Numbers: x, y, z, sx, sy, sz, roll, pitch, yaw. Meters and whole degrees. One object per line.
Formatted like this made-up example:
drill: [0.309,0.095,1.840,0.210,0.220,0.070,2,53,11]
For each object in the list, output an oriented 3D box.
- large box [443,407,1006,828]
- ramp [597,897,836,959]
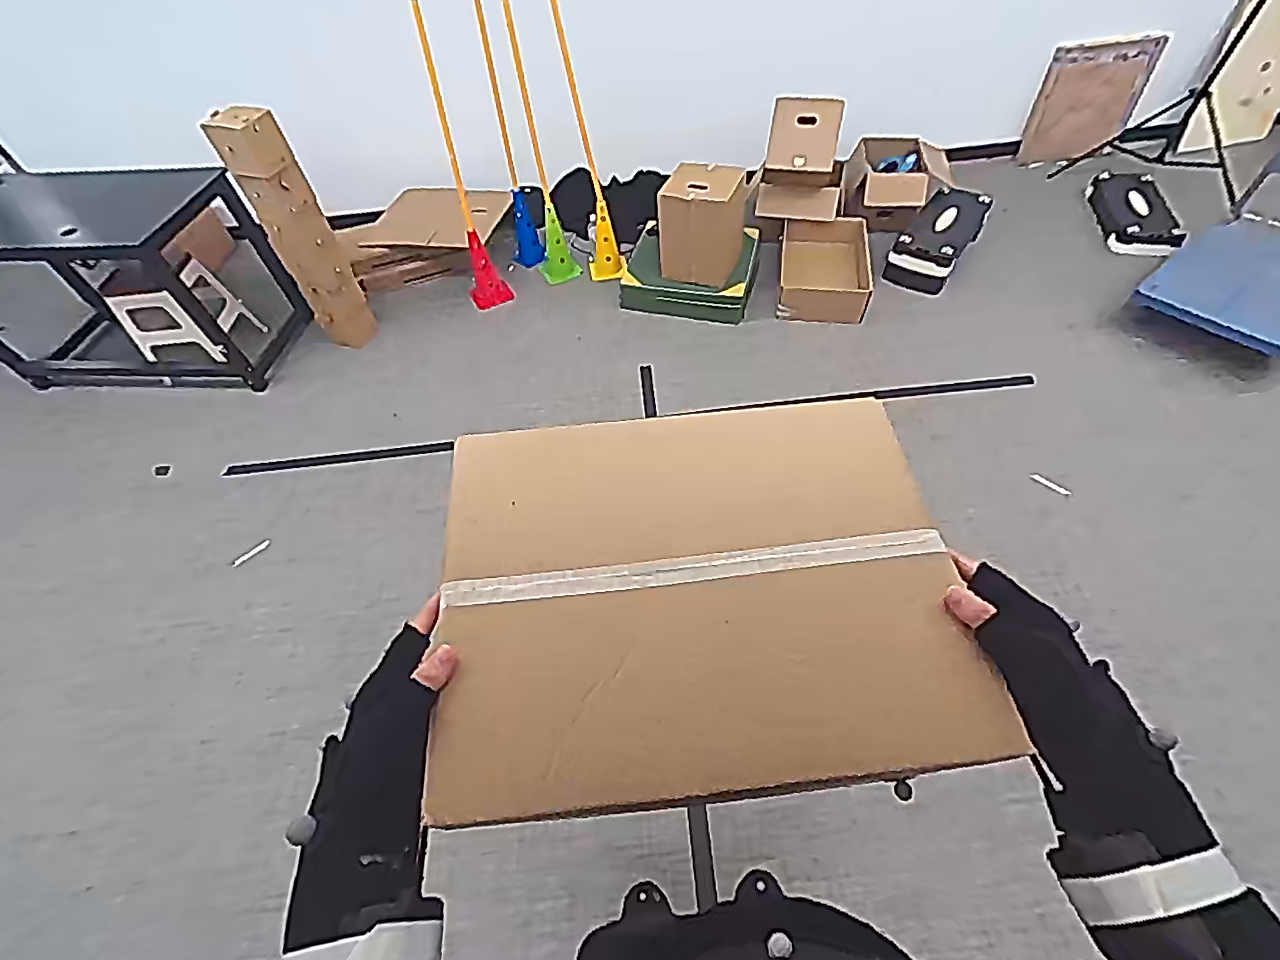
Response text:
large box: [0.051,0.156,0.574,0.408,0.320,0.320,-6,58,-2]
ramp: [0.201,1.358,0.931,0.509,0.206,0.991,-7,54,-2]
